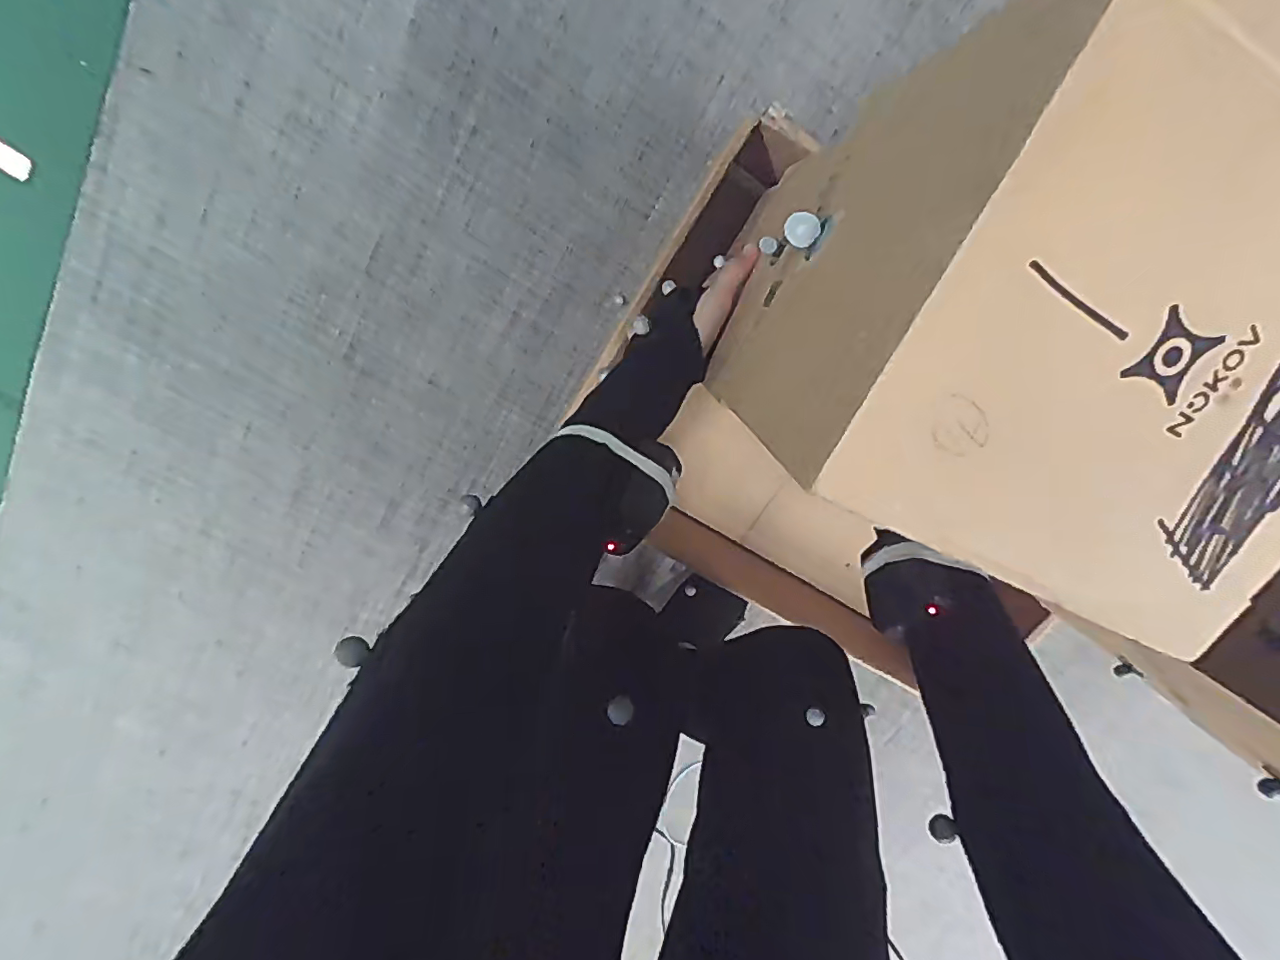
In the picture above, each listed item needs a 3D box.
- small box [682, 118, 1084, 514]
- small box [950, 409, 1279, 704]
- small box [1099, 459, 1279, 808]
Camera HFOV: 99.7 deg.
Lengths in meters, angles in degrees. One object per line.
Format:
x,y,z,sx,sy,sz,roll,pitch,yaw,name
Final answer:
0.143,-0.111,0.394,0.168,0.176,0.179,26,108,-12,small box
0.422,0.056,0.473,0.179,0.176,0.168,41,104,-15,small box
0.431,0.112,0.320,0.179,0.176,0.168,-43,108,12,small box
